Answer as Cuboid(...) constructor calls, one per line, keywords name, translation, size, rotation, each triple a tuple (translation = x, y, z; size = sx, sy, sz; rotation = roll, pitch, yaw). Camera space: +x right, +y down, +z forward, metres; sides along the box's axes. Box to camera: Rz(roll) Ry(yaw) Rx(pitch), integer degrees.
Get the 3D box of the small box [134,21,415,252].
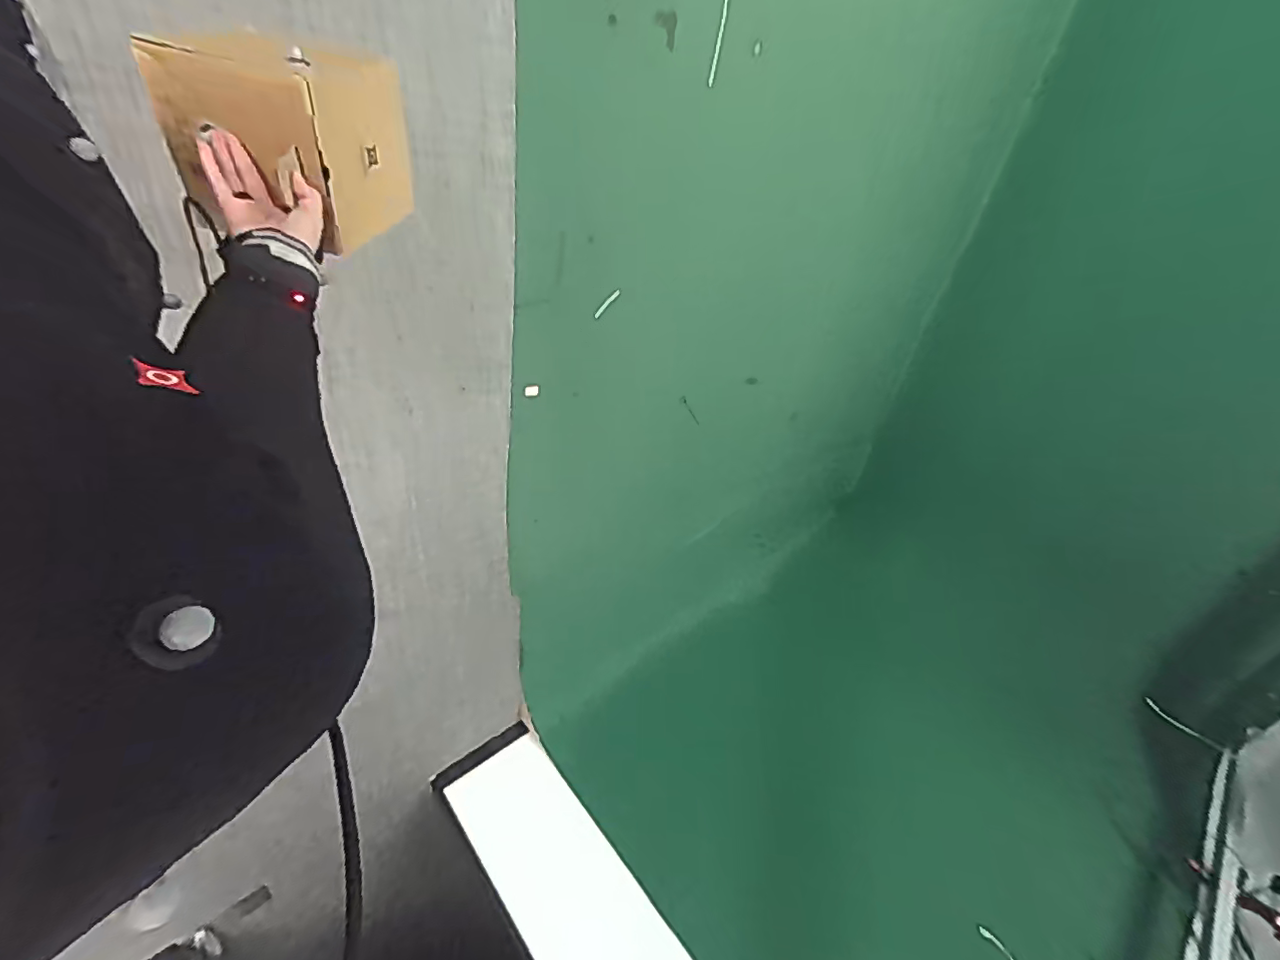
Cuboid(name="small box", translation=(-0.373, -0.376, 0.589), size=(0.179, 0.176, 0.168), rotation=(-78, 180, -46))
